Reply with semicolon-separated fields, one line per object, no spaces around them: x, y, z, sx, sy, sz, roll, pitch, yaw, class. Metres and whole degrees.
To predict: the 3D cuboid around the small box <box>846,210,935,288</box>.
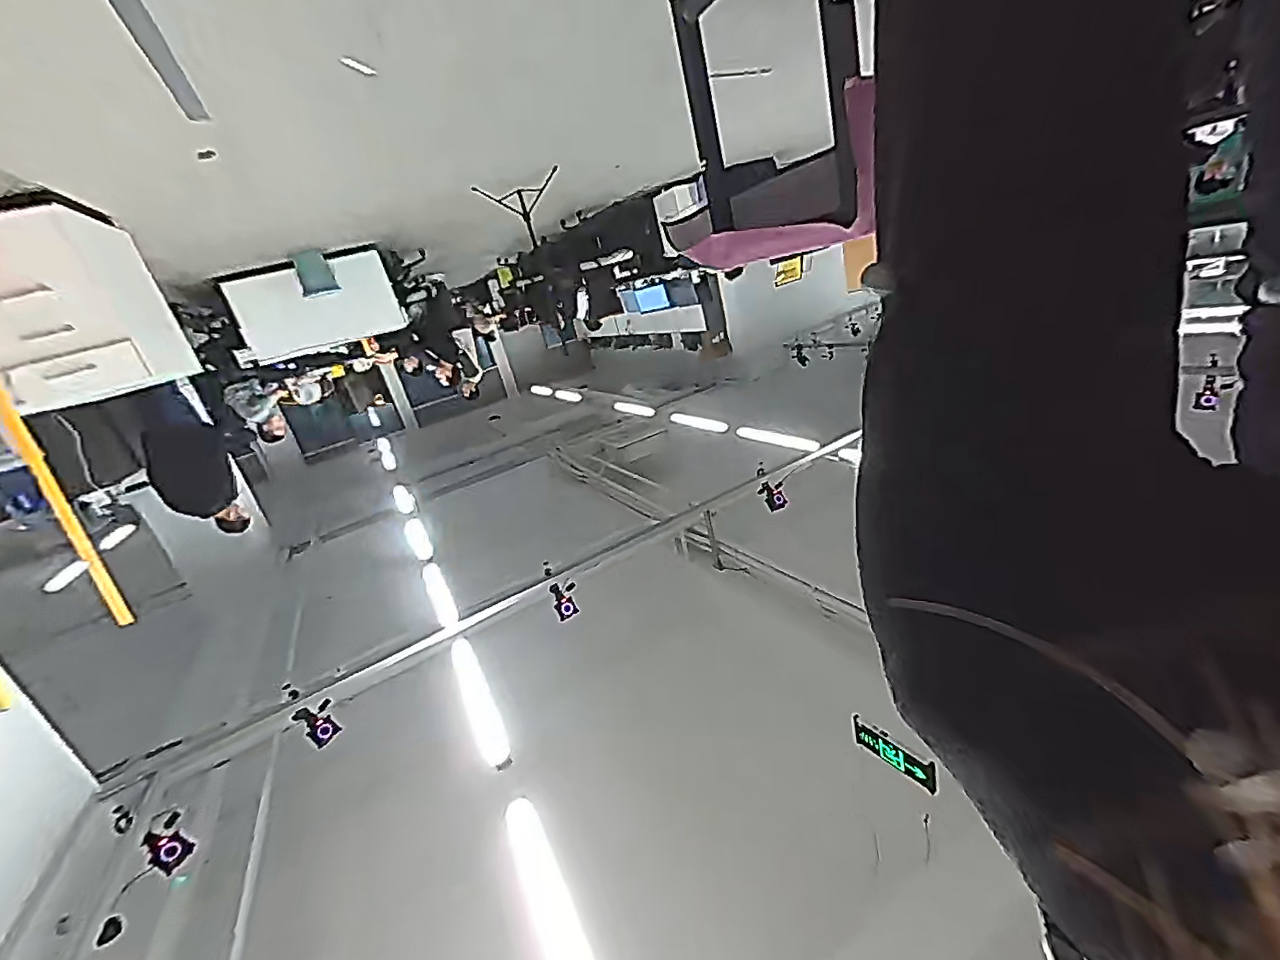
0.711;-0.658;1.545;0.168;0.176;0.179;-23;-158;-20;small box
